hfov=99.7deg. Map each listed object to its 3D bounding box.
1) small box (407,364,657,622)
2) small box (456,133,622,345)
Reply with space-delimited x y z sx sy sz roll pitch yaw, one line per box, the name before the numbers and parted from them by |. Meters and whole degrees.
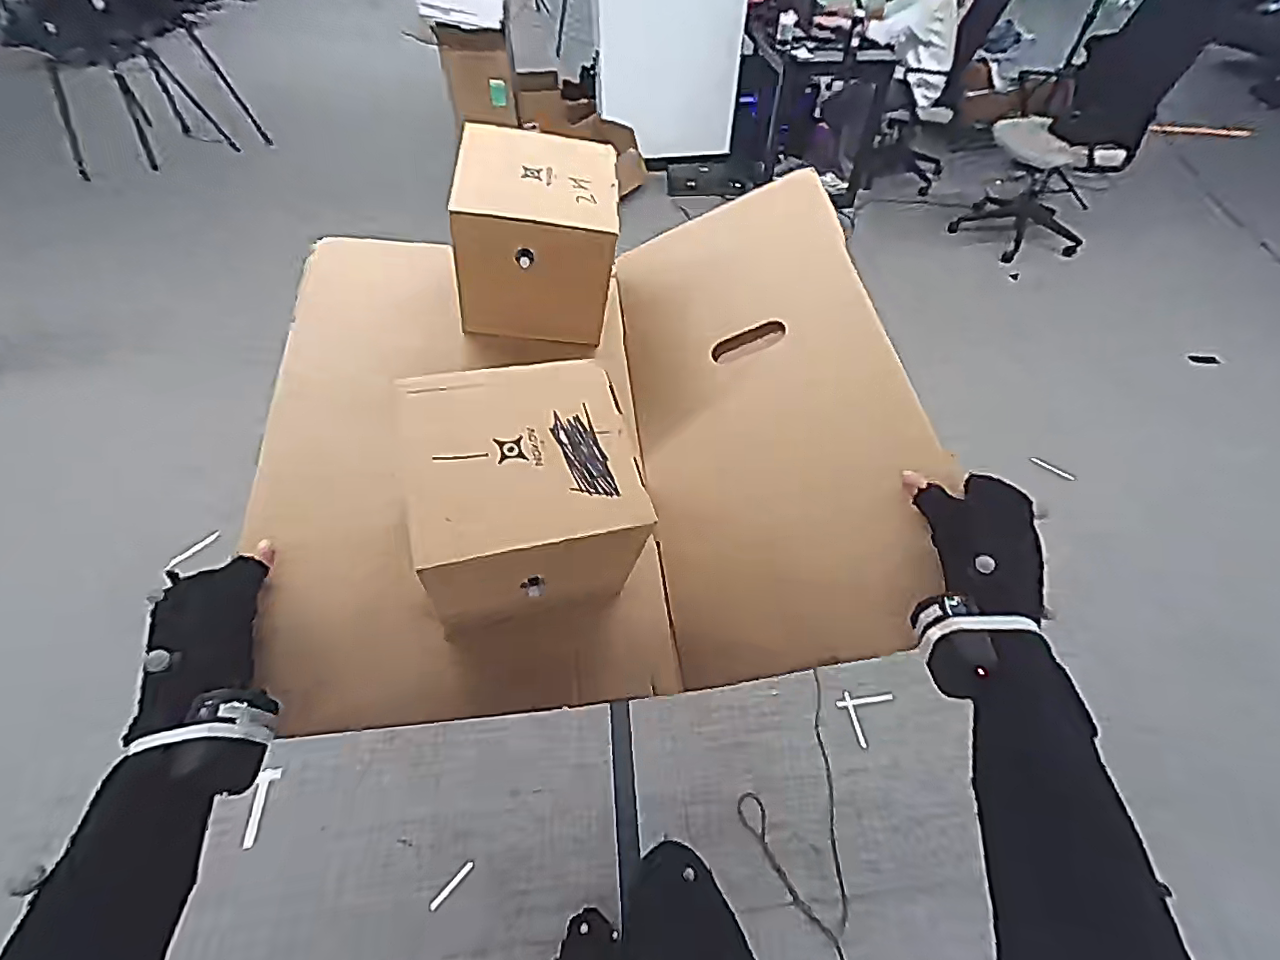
small box | -0.103 0.016 0.500 0.179 0.176 0.168 -10 63 -17
small box | -0.121 -0.290 0.675 0.179 0.176 0.168 4 60 -10
